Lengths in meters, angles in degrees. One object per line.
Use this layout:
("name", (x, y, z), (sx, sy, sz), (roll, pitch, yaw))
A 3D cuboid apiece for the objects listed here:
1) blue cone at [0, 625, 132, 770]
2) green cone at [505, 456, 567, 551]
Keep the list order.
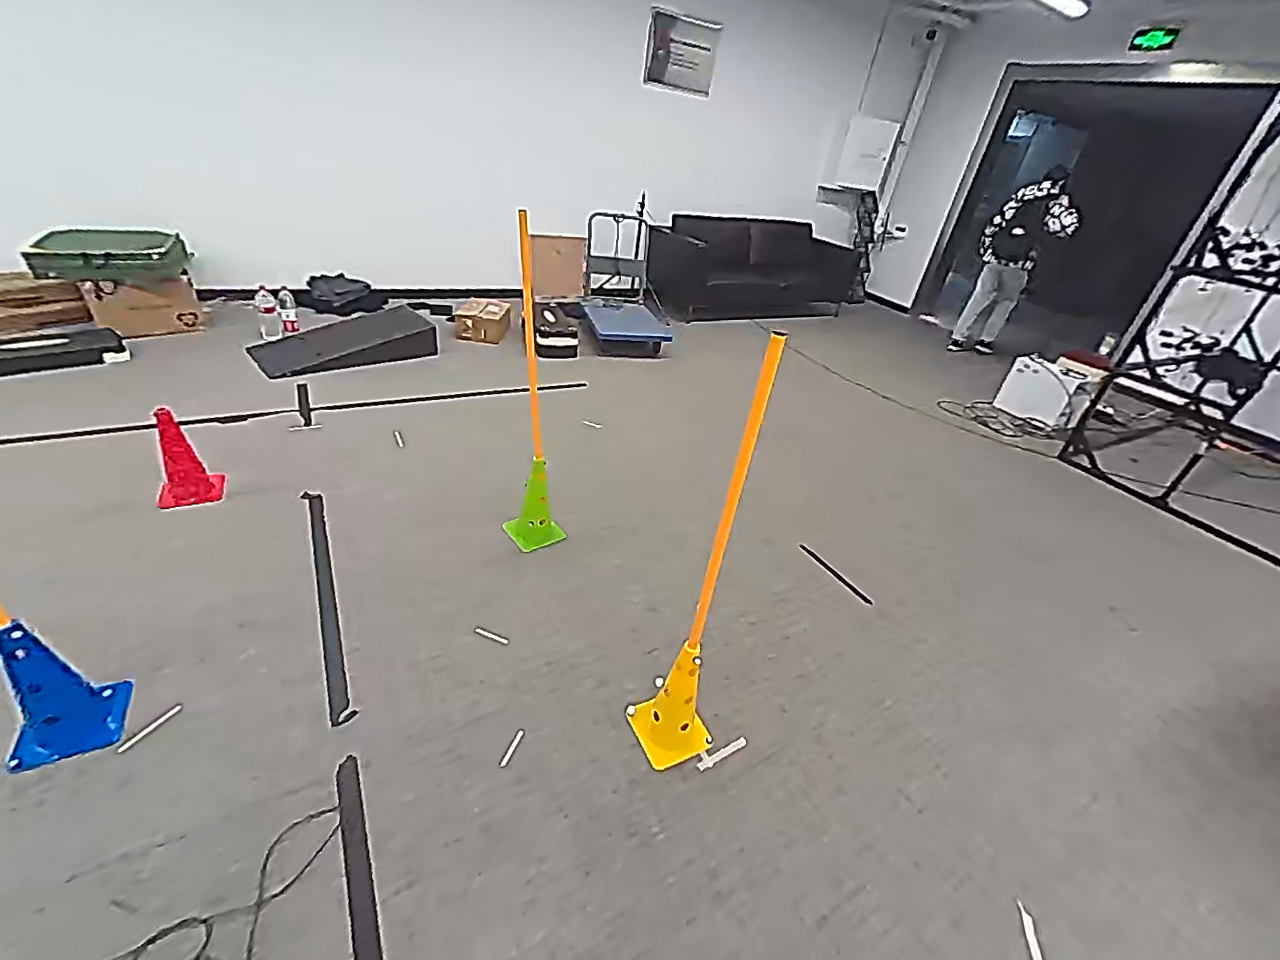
("blue cone", (-1.375, 0.471, 1.258), (0.193, 0.380, 0.192), (-9, 37, -26))
("green cone", (-0.402, 0.067, 2.125), (0.200, 0.368, 0.202), (-19, 44, -37))
